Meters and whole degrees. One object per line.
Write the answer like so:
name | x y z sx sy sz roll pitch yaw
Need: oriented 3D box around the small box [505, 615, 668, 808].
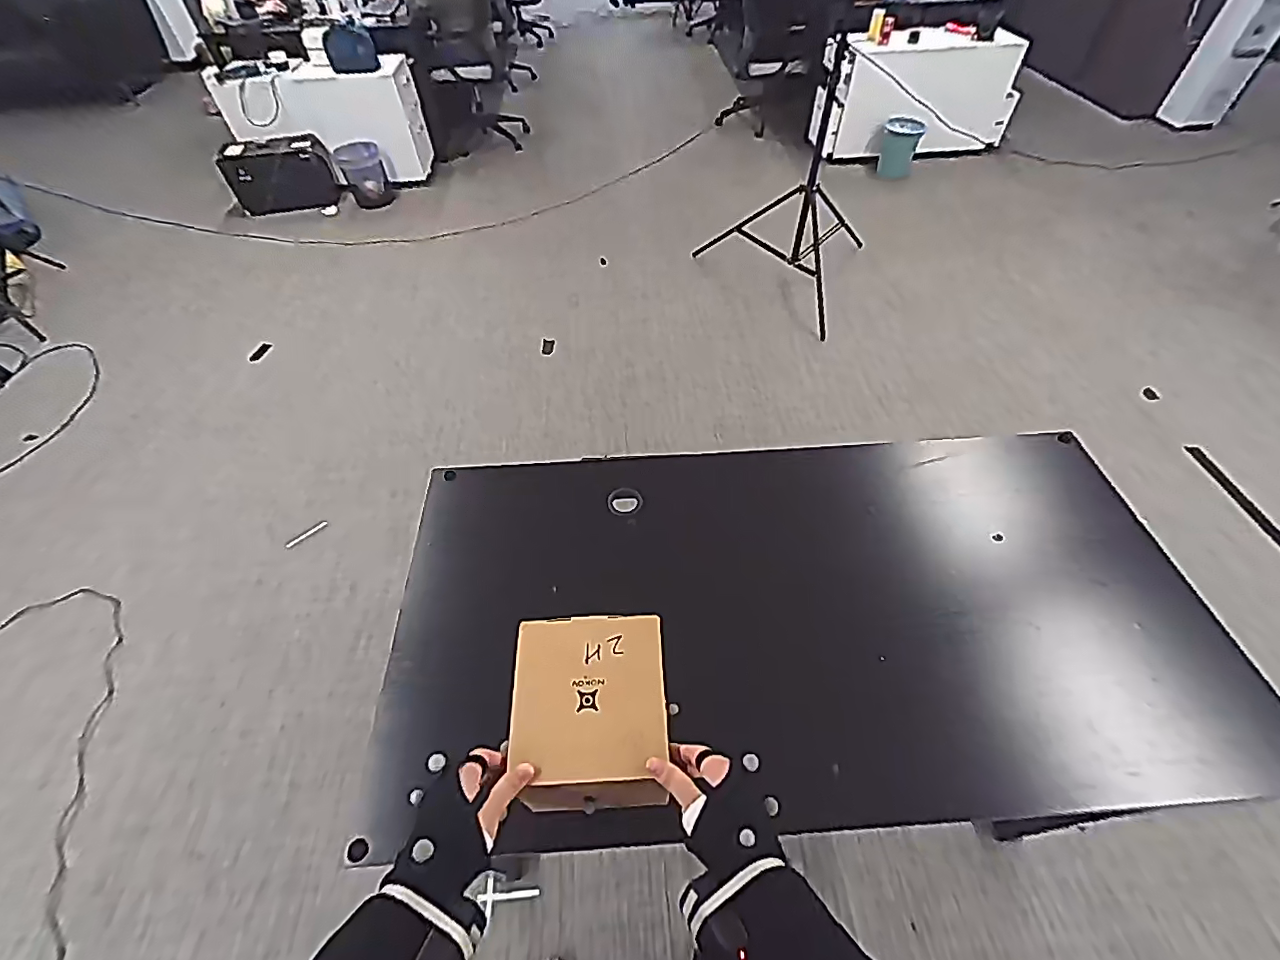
small box | -0.054 0.282 0.648 0.168 0.176 0.179 -3 50 -1
